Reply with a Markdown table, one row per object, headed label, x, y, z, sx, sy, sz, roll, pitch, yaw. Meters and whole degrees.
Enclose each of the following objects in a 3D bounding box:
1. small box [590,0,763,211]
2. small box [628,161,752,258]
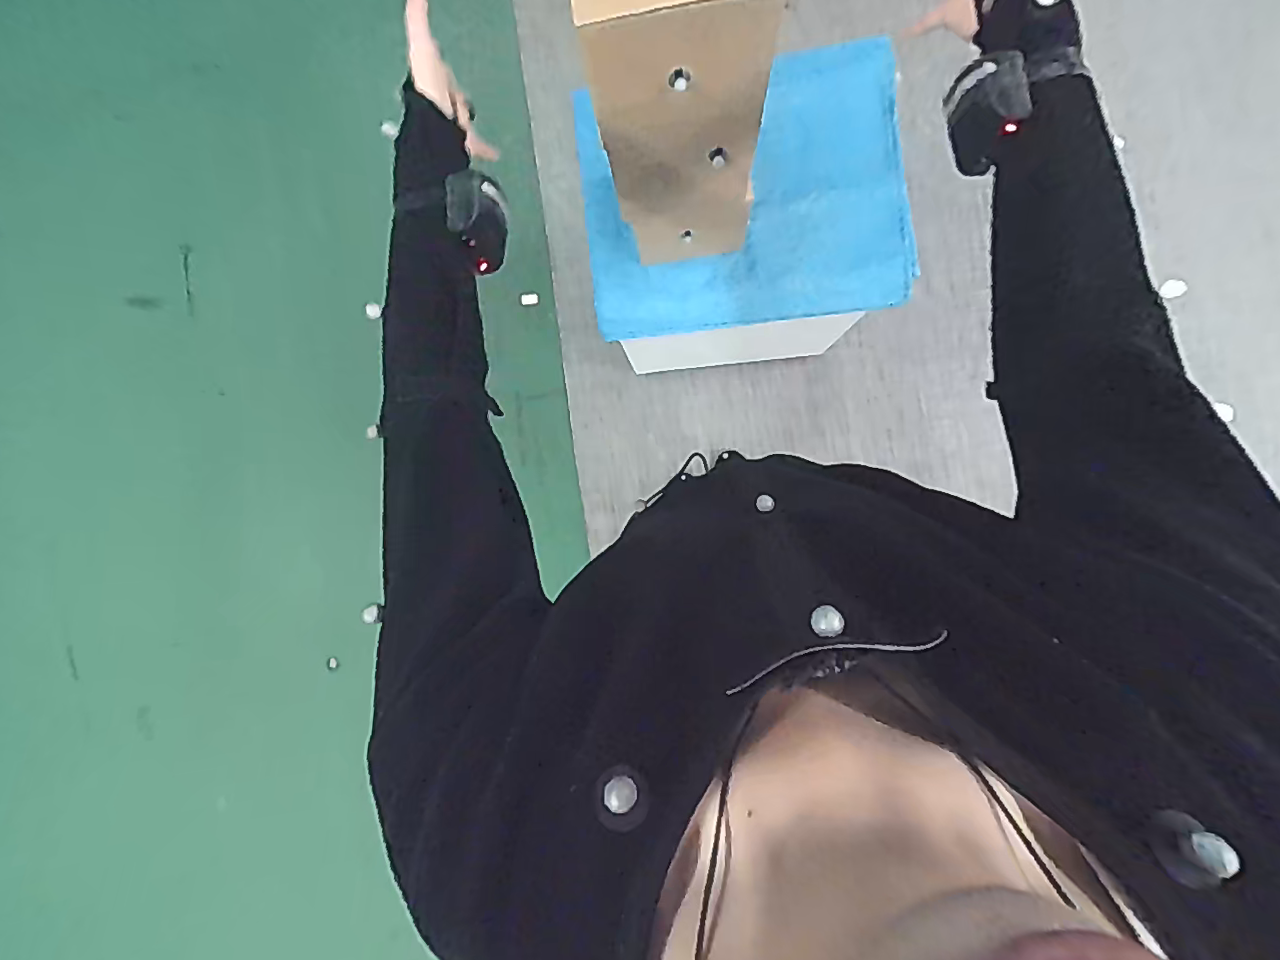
| label | x | y | z | sx | sy | sz | roll | pitch | yaw |
| --- | --- | --- | --- | --- | --- | --- | --- | --- | --- |
| small box | 0.044 | -0.461 | 0.666 | 0.179 | 0.176 | 0.168 | -7 | 89 | 5 |
| small box | 0.067 | -0.464 | 0.830 | 0.179 | 0.176 | 0.168 | -7 | 89 | 5 |
